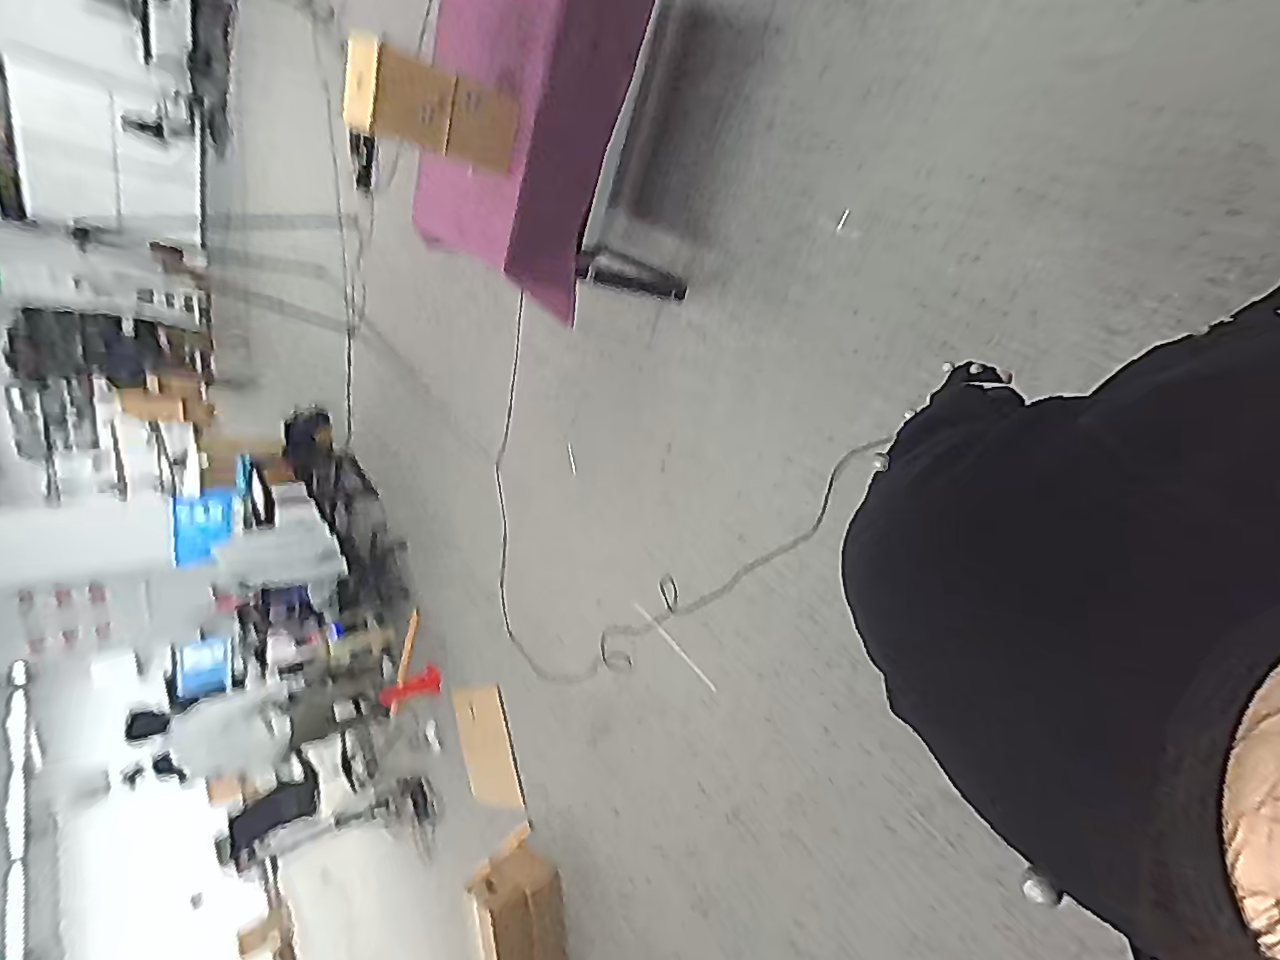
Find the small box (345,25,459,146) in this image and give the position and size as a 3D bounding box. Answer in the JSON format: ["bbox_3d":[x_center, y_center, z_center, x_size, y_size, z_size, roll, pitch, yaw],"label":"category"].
[{"bbox_3d":[-0.530,-0.869,1.201,0.179,0.176,0.168,38,119,34],"label":"small box"}]

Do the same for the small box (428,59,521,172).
[{"bbox_3d":[-0.411,-0.882,1.313,0.168,0.176,0.179,39,120,36],"label":"small box"}]
